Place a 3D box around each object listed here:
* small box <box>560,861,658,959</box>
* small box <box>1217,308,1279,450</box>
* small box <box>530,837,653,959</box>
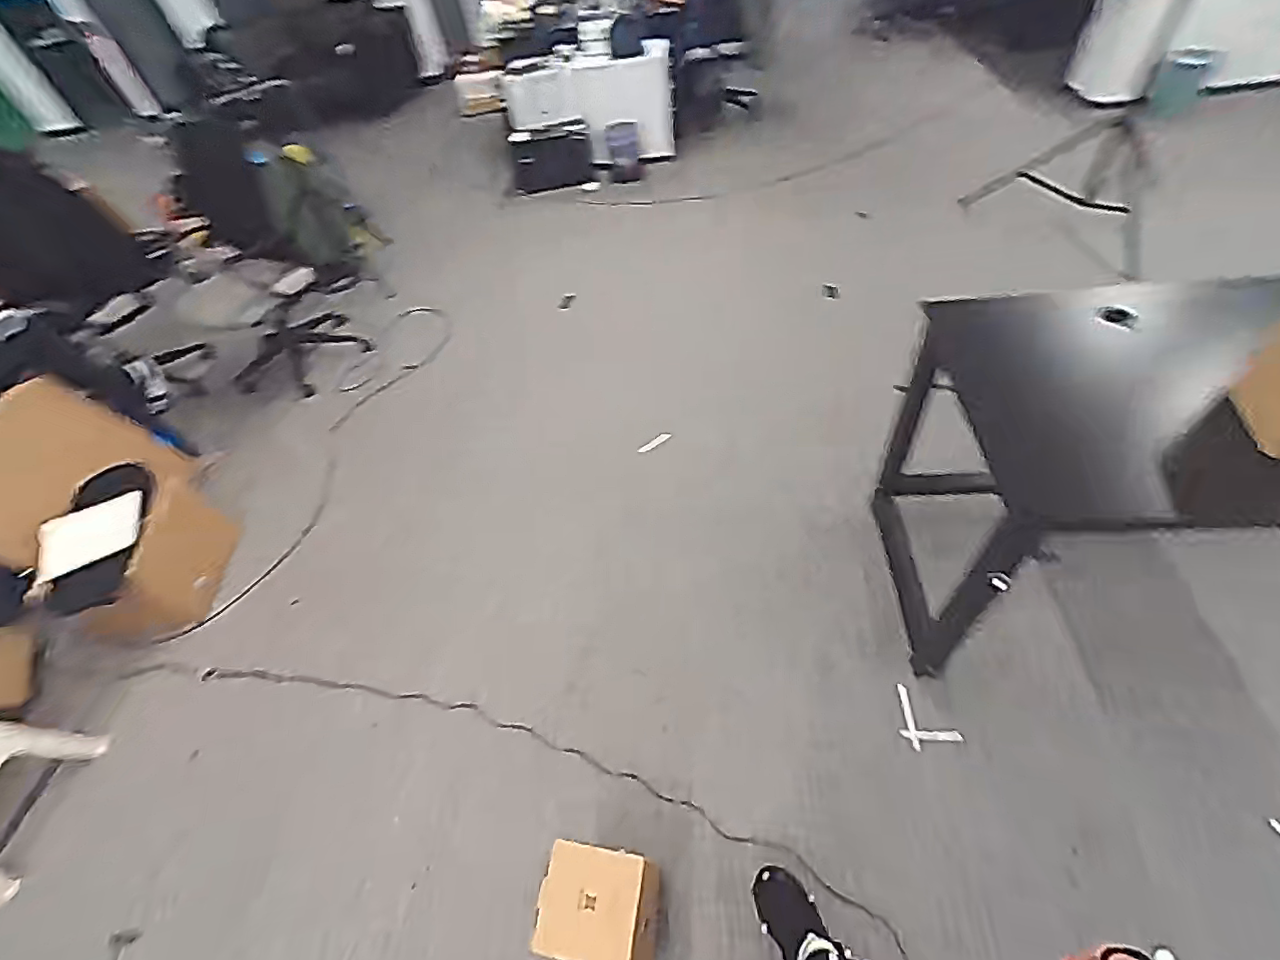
[{"bbox_3d":[-0.055,0.893,1.129,0.168,0.176,0.179,-1,52,9],"label":"small box"},{"bbox_3d":[1.069,-0.149,0.833,0.168,0.176,0.179,7,51,15],"label":"small box"},{"bbox_3d":[-0.080,0.786,1.007,0.179,0.176,0.168,3,52,11],"label":"small box"}]
